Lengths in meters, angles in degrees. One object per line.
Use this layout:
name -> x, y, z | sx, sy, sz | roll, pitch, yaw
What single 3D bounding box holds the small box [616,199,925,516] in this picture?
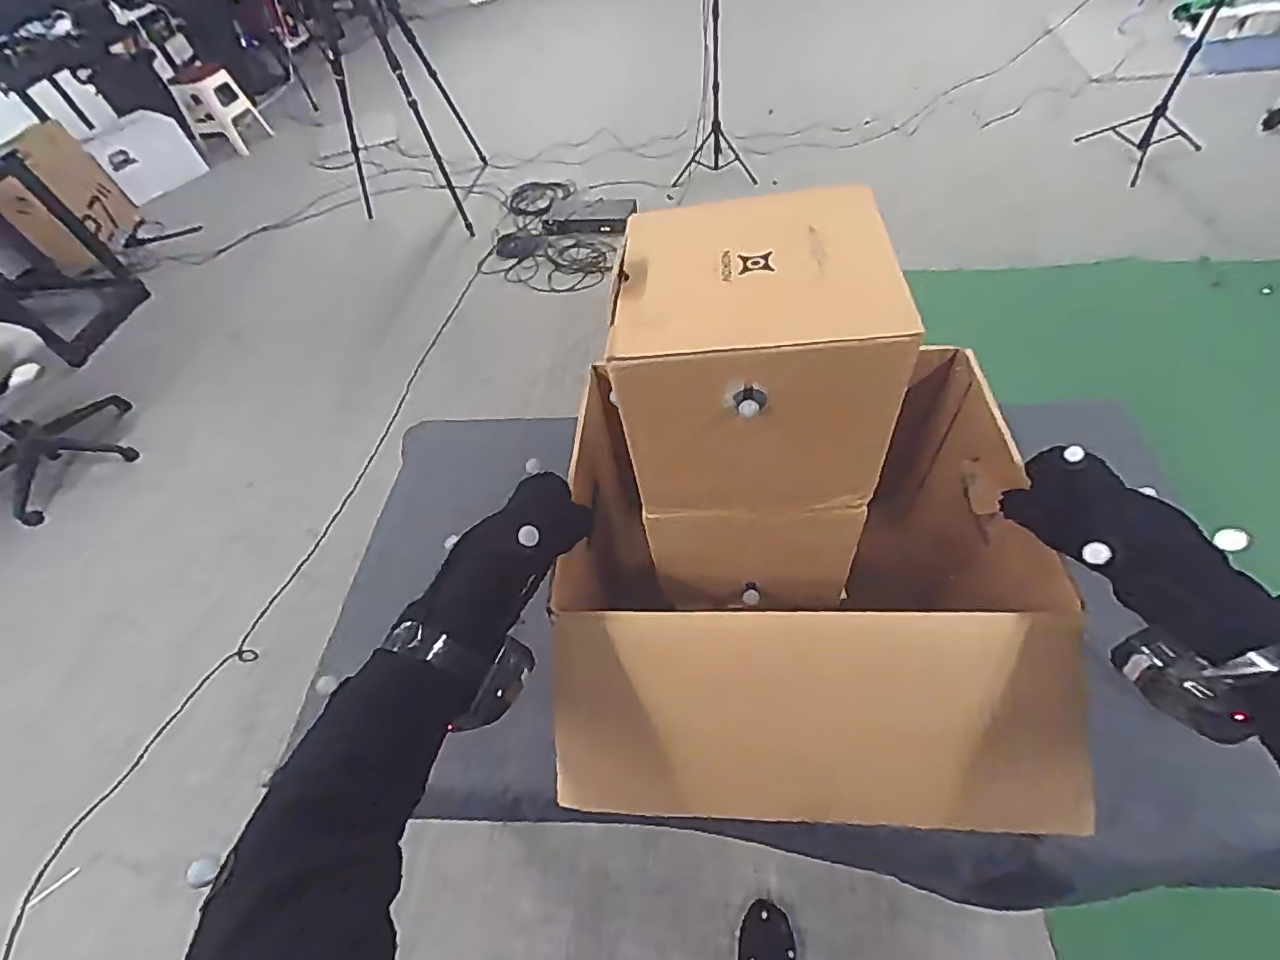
small box -> 0.086, -0.083, 0.415 | 0.179, 0.176, 0.168 | -3, 53, 8
